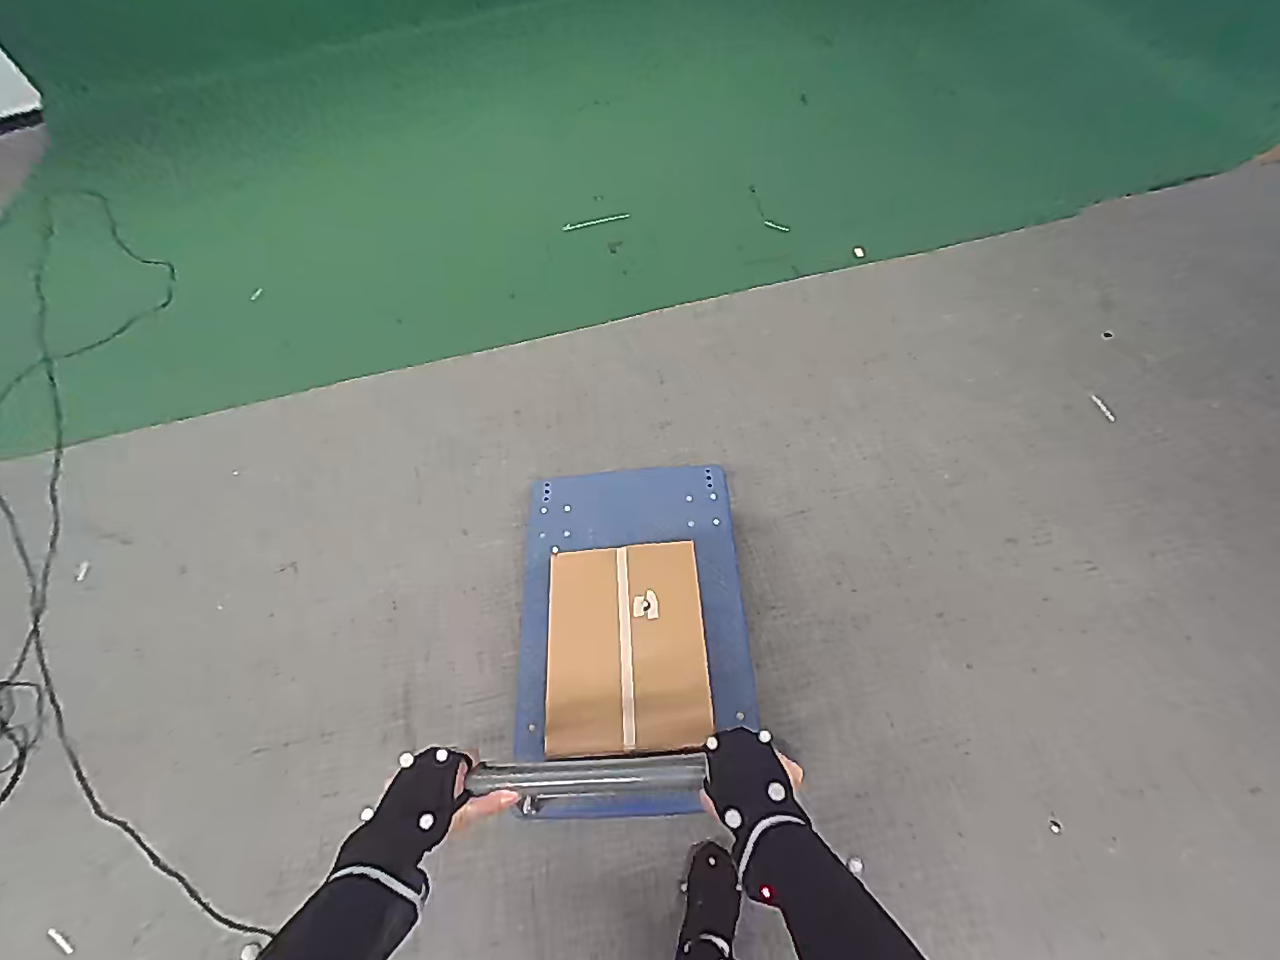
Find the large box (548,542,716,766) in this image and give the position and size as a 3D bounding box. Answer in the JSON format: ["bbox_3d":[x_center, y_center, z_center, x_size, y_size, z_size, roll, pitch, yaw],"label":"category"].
[{"bbox_3d":[-0.012,0.393,1.201,0.320,0.320,0.408,-5,59,3],"label":"large box"}]
